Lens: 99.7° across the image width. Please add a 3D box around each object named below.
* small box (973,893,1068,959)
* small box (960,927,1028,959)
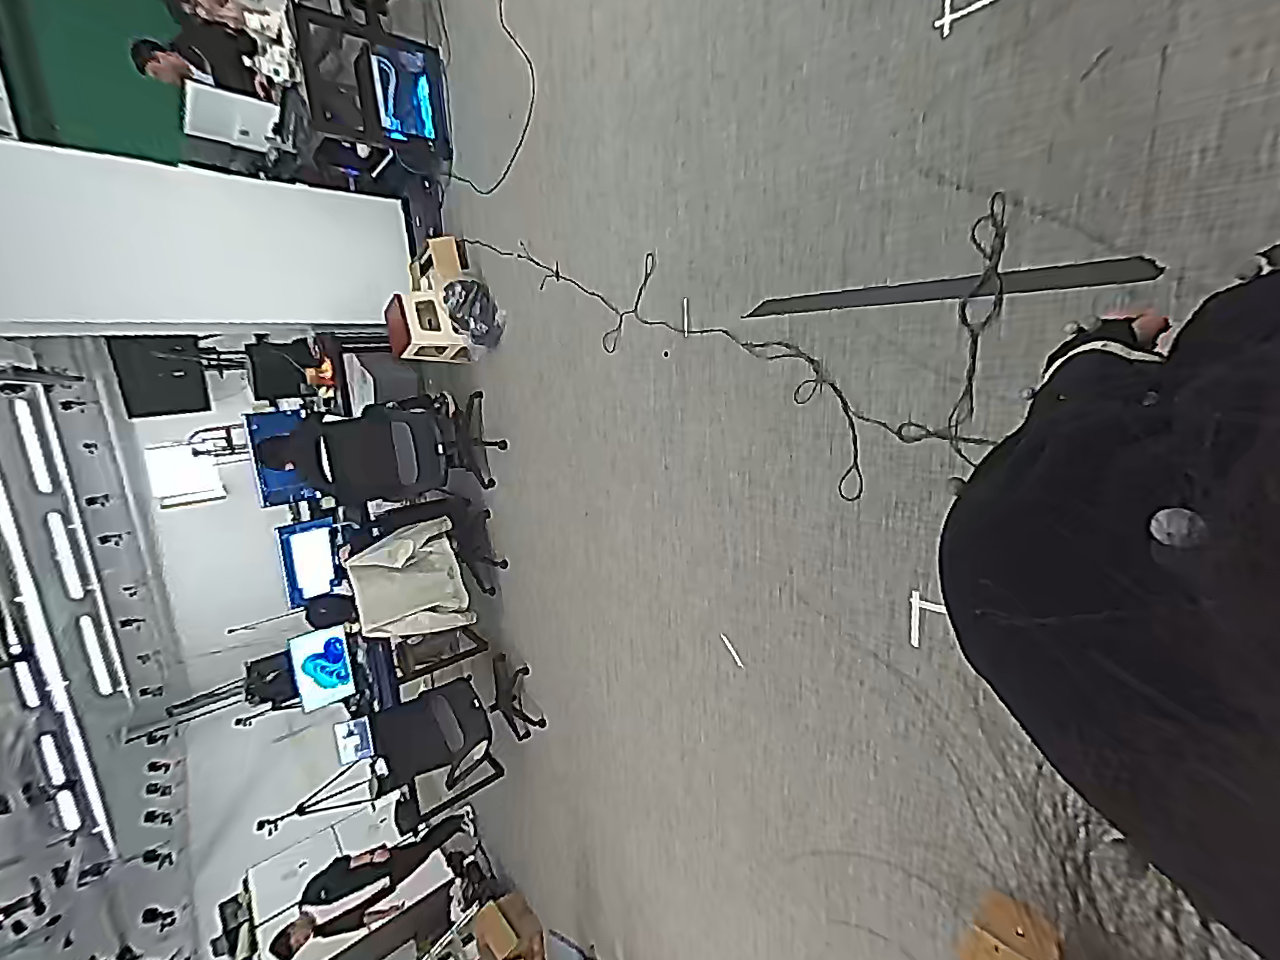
[{"bbox_3d":[1.015,1.267,1.454,0.179,0.176,0.168,12,110,47],"label":"small box"},{"bbox_3d":[0.895,1.286,1.346,0.168,0.176,0.179,9,109,49],"label":"small box"}]
